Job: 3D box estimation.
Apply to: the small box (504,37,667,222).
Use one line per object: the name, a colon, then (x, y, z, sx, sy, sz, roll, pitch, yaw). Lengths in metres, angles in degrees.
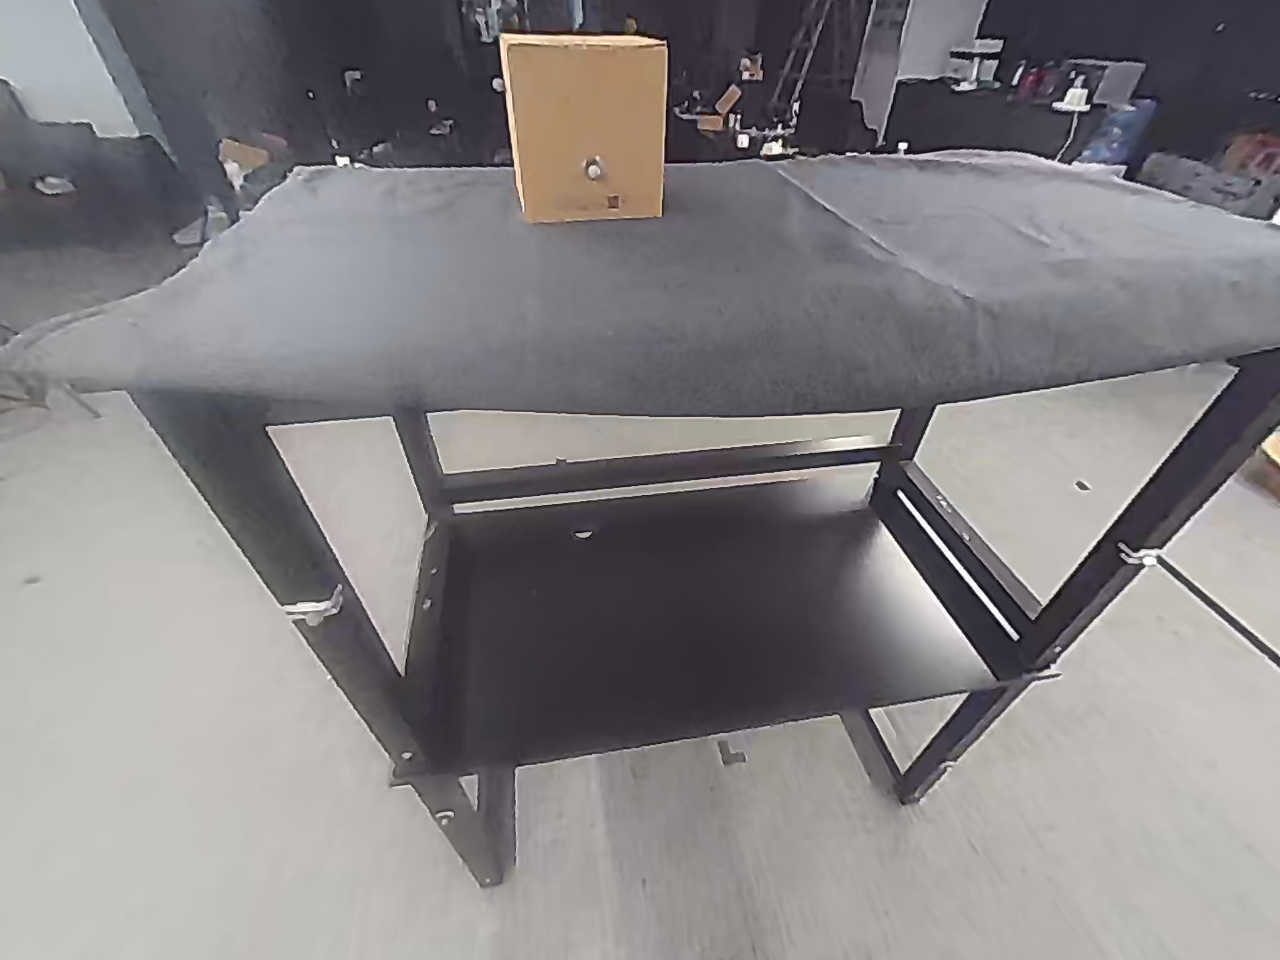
small box: (-0.070, -0.425, 0.657, 0.168, 0.176, 0.179, -8, 42, -10)
